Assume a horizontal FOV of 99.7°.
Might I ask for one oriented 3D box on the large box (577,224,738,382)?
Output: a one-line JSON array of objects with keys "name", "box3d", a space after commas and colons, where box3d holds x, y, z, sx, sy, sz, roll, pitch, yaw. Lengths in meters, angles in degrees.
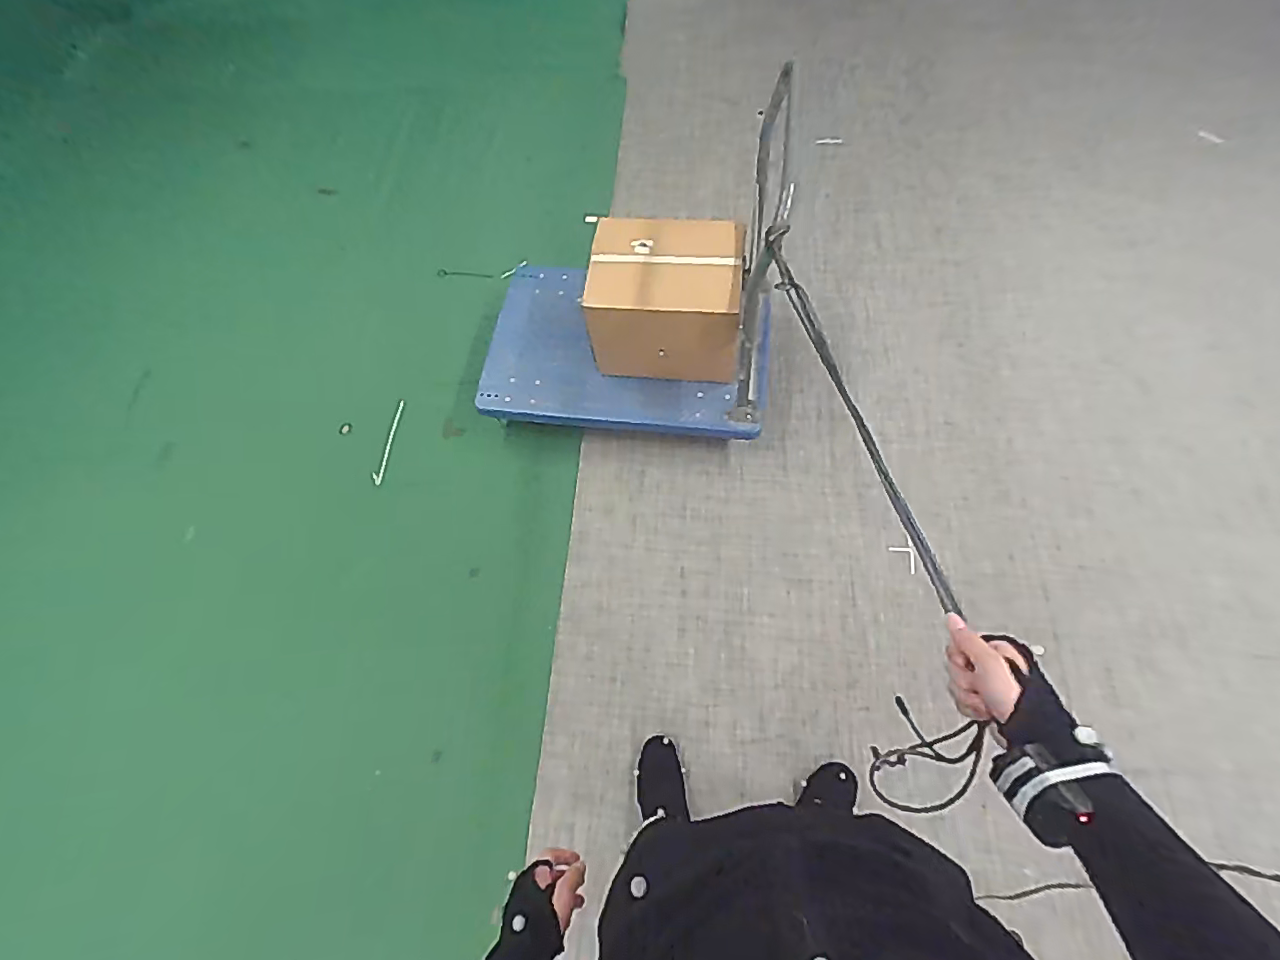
[{"name": "large box", "box3d": [0.067, -0.496, 1.544, 0.408, 0.320, 0.320, 4, 66, 8]}]
